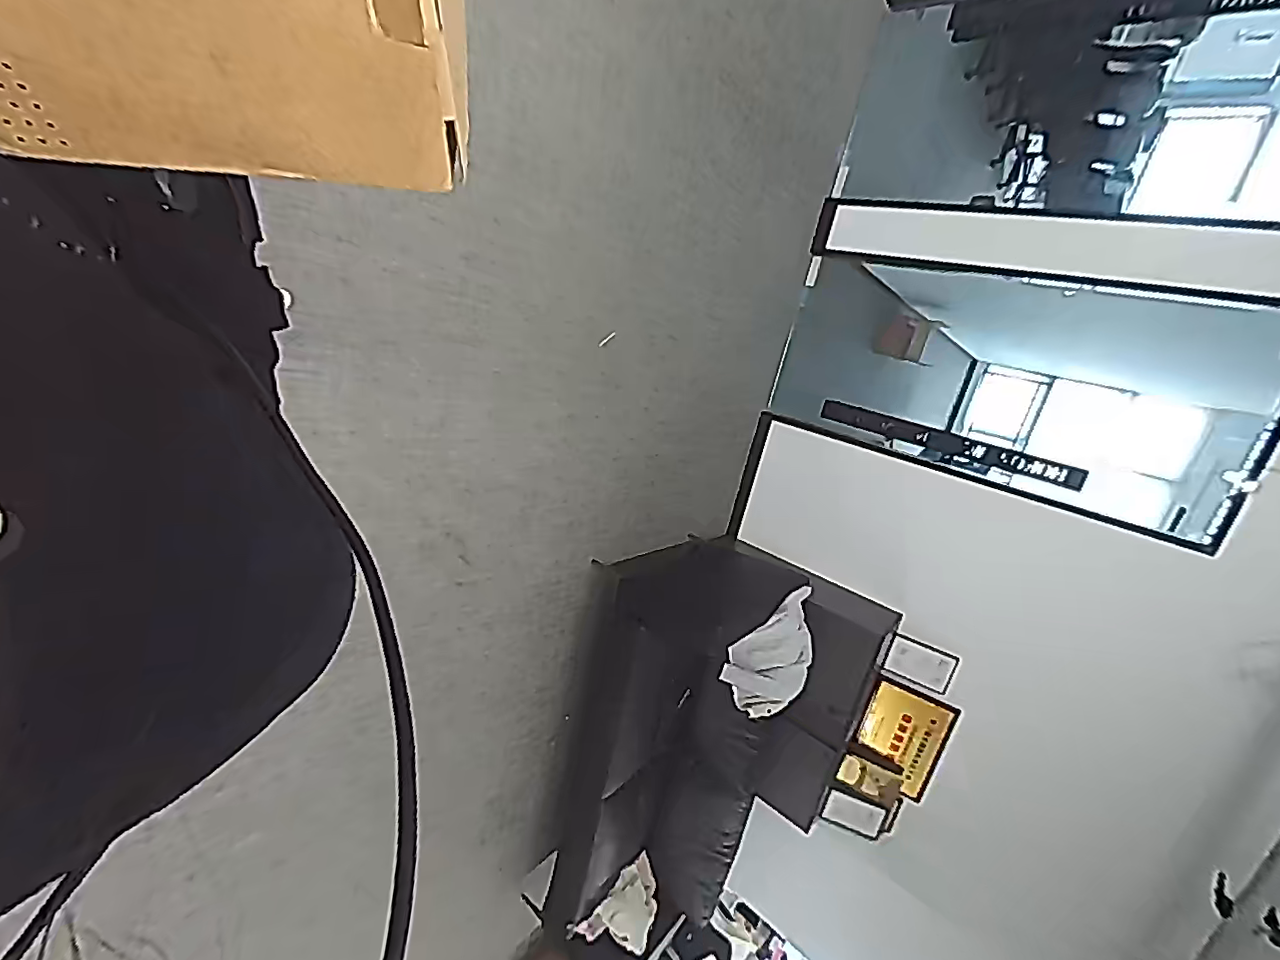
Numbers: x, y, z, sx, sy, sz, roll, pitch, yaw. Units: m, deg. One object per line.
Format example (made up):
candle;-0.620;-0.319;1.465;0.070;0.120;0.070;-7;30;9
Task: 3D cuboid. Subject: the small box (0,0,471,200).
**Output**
small box;-0.159;-0.231;0.190;0.176;0.179;0.168;-1;153;-12
